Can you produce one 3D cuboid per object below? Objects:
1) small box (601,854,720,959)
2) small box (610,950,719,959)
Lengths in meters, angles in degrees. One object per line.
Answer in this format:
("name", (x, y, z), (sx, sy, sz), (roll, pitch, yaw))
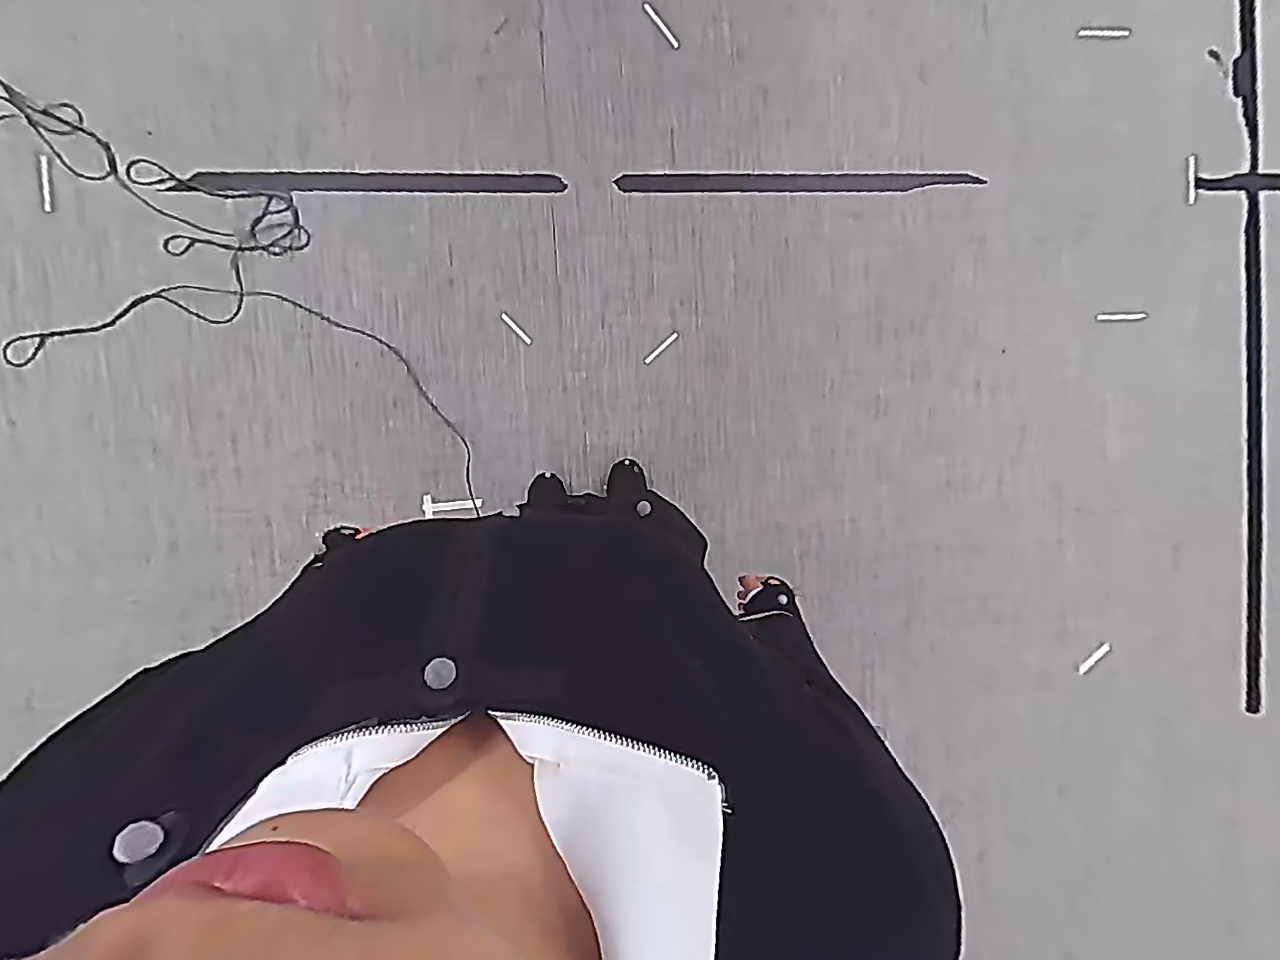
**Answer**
("small box", (0.028, 0.717, 0.822), (0.168, 0.176, 0.179), (-3, 91, -3))
("small box", (0.040, 0.723, 0.658), (0.168, 0.176, 0.179), (-5, 91, -3))
